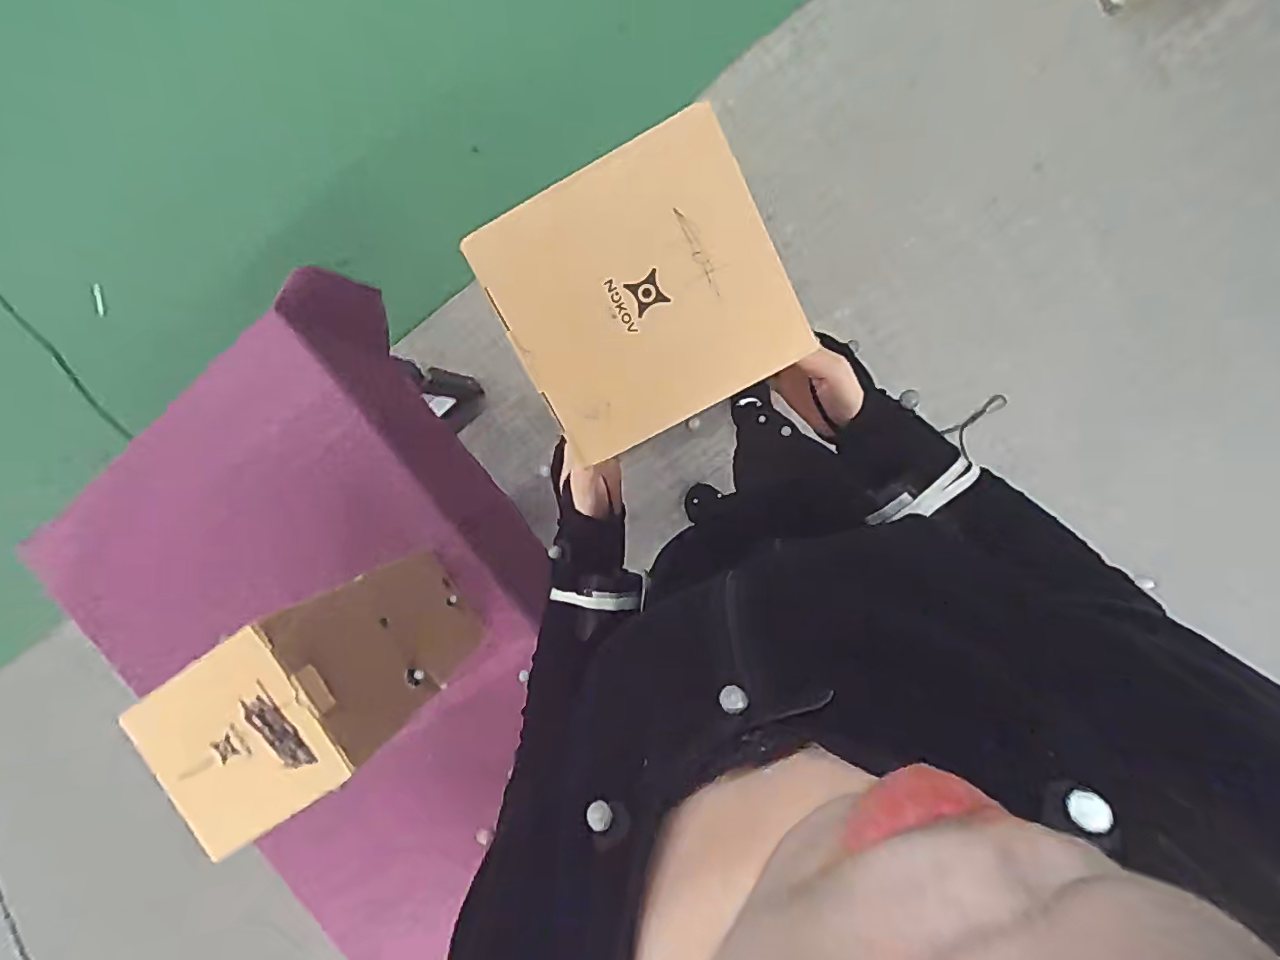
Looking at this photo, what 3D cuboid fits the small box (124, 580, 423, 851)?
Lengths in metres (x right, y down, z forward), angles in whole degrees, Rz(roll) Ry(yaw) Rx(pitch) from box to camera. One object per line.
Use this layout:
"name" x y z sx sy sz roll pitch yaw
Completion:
"small box" -0.363 0.231 0.577 0.179 0.176 0.168 -34 90 9

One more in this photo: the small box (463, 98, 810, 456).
"small box" 0.001 -0.136 0.420 0.179 0.176 0.168 -25 100 6
